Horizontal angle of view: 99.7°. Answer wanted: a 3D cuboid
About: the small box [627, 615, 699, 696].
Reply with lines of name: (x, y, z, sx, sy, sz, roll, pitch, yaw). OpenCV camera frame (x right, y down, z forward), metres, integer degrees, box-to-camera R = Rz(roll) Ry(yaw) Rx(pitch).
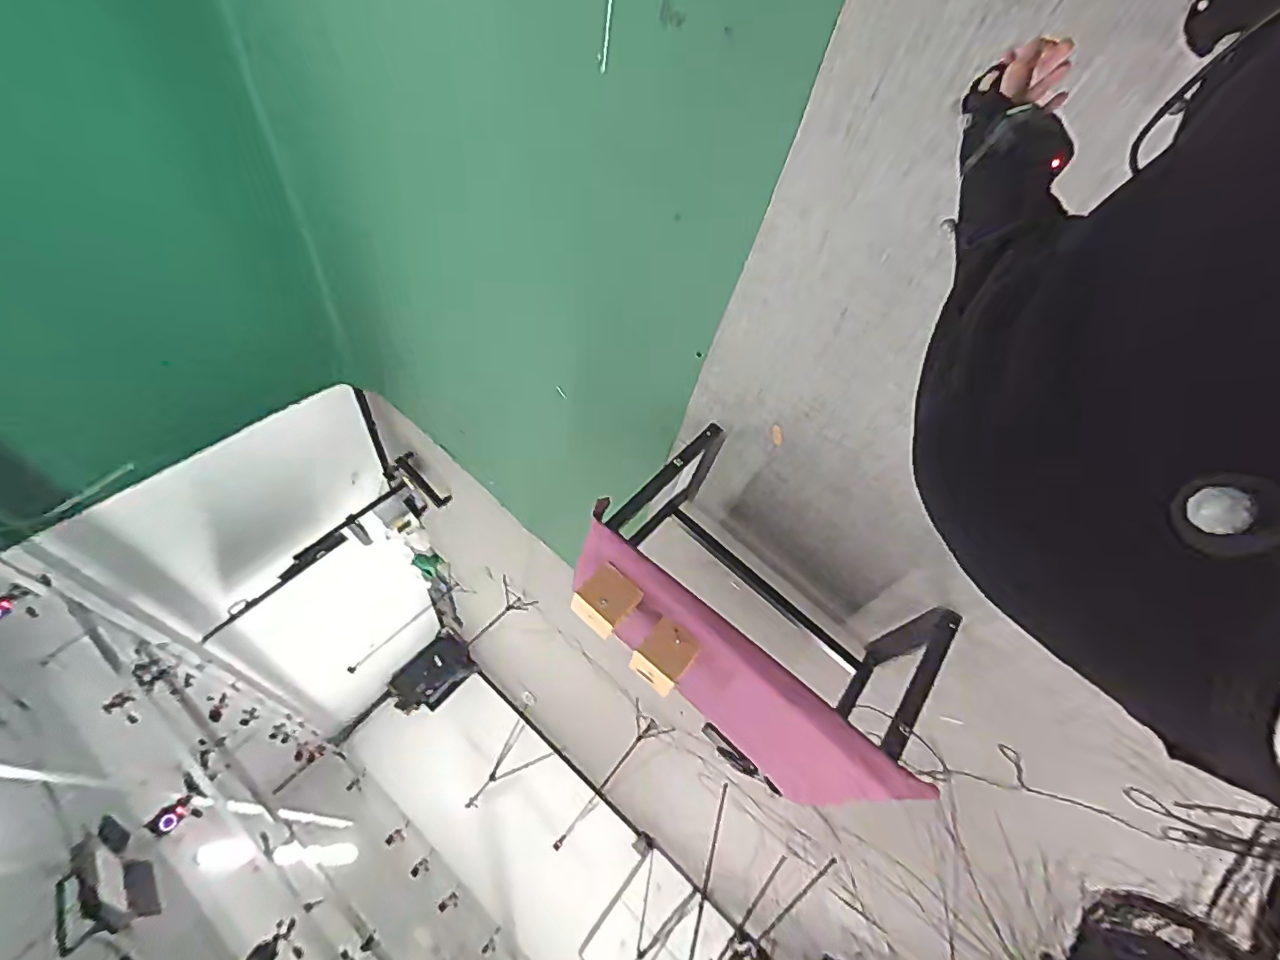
small box: (0.079, 0.593, 1.831, 0.168, 0.176, 0.179, 37, 146, 16)

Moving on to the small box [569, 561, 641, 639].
small box: (-0.122, 0.413, 1.872, 0.179, 0.176, 0.168, 40, 148, 11)
